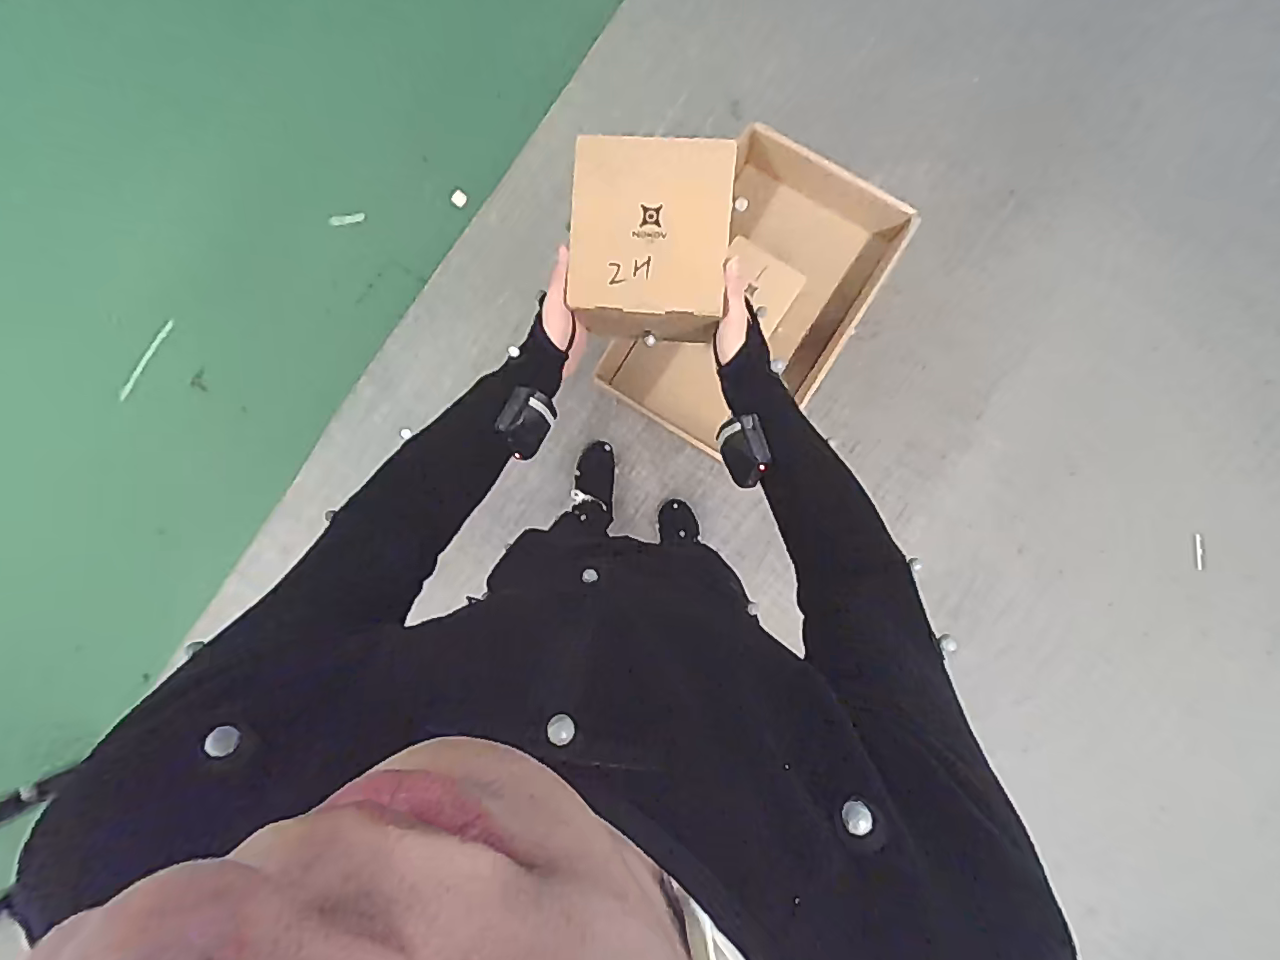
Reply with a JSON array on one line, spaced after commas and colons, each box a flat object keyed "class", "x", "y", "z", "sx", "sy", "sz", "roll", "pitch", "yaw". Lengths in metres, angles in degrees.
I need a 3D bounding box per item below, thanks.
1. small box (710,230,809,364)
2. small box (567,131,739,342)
[{"class": "small box", "x": 0.218, "y": -0.366, "z": 1.119, "sx": 0.168, "sy": 0.176, "sz": 0.179, "roll": 34, "pitch": 91, "yaw": 4}, {"class": "small box", "x": 0.017, "y": -0.267, "z": 0.627, "sx": 0.168, "sy": 0.176, "sz": 0.179, "roll": 4, "pitch": 95, "yaw": 4}]
